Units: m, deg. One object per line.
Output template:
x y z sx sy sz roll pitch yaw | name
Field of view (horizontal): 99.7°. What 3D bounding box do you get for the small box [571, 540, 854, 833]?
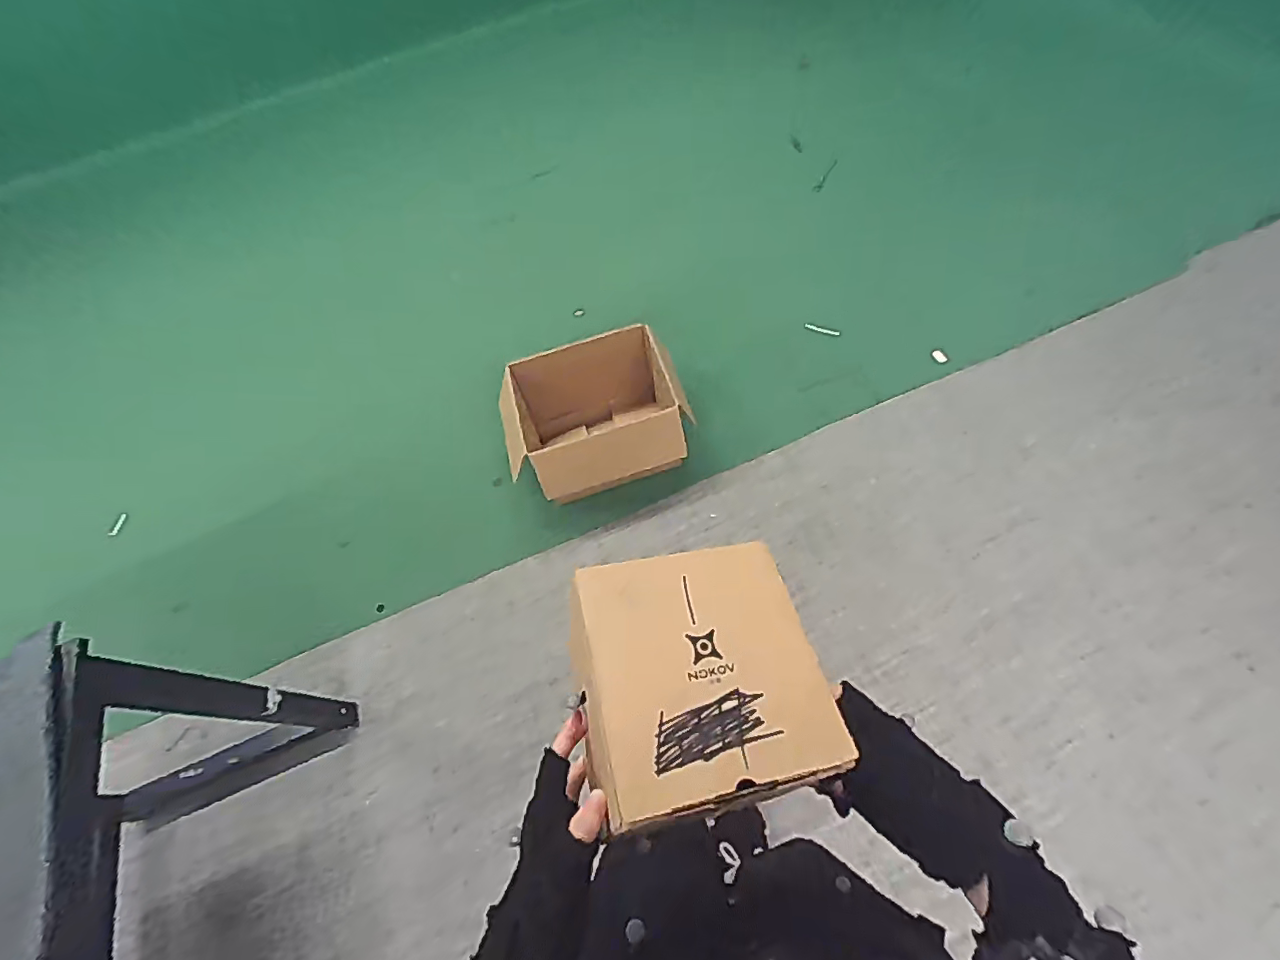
0.037 0.175 0.450 0.168 0.176 0.179 -6 53 -14 | small box
